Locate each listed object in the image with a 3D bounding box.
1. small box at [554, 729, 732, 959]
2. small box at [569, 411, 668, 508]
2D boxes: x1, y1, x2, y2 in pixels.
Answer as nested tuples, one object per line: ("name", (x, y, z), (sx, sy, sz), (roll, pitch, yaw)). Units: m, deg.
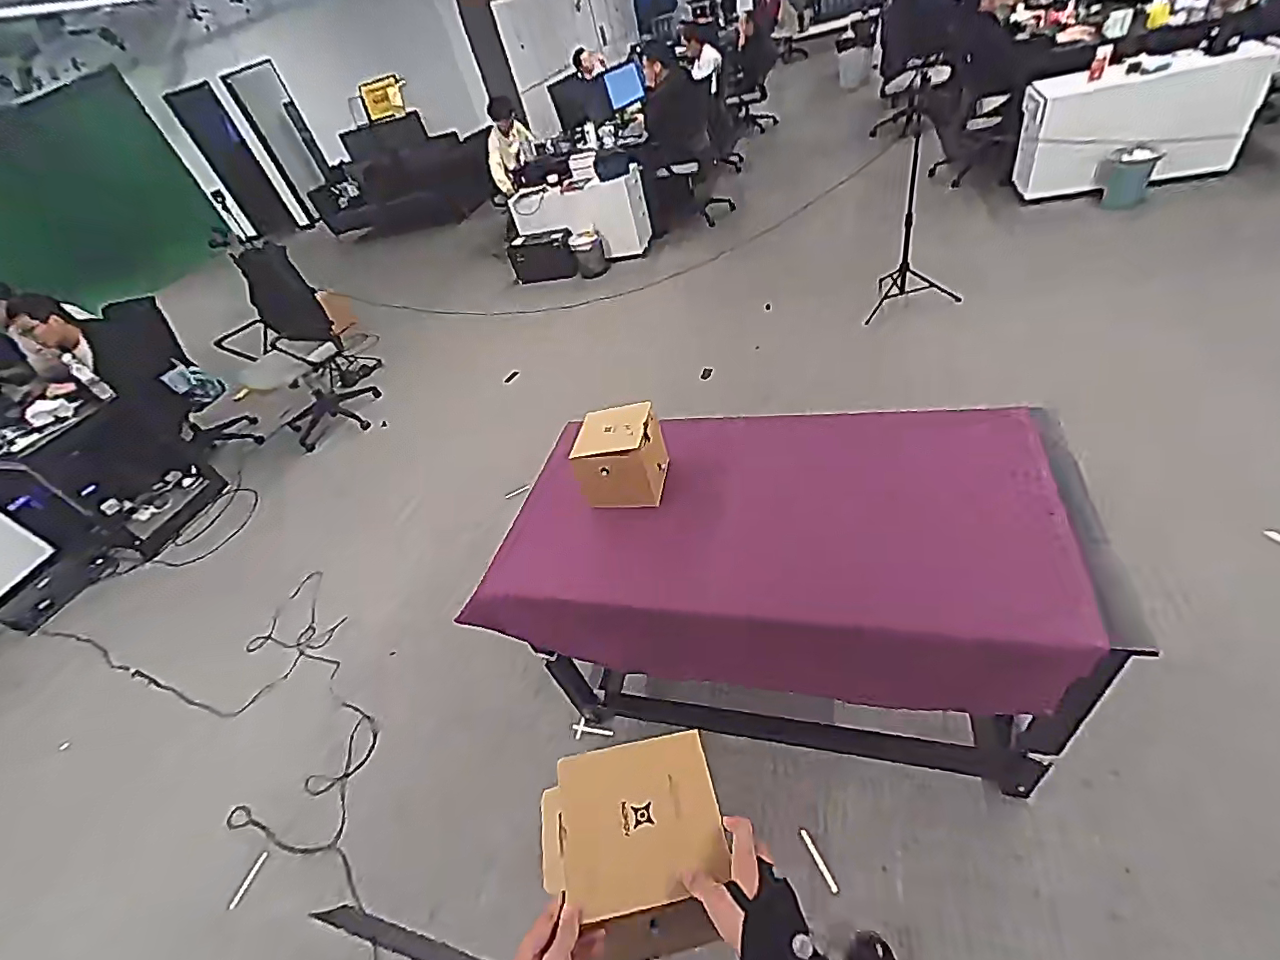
("small box", (0.003, 0.428, 0.631), (0.179, 0.176, 0.168), (-10, 35, -5))
("small box", (-0.044, -0.047, 1.291), (0.179, 0.176, 0.168), (-1, 45, 17))
